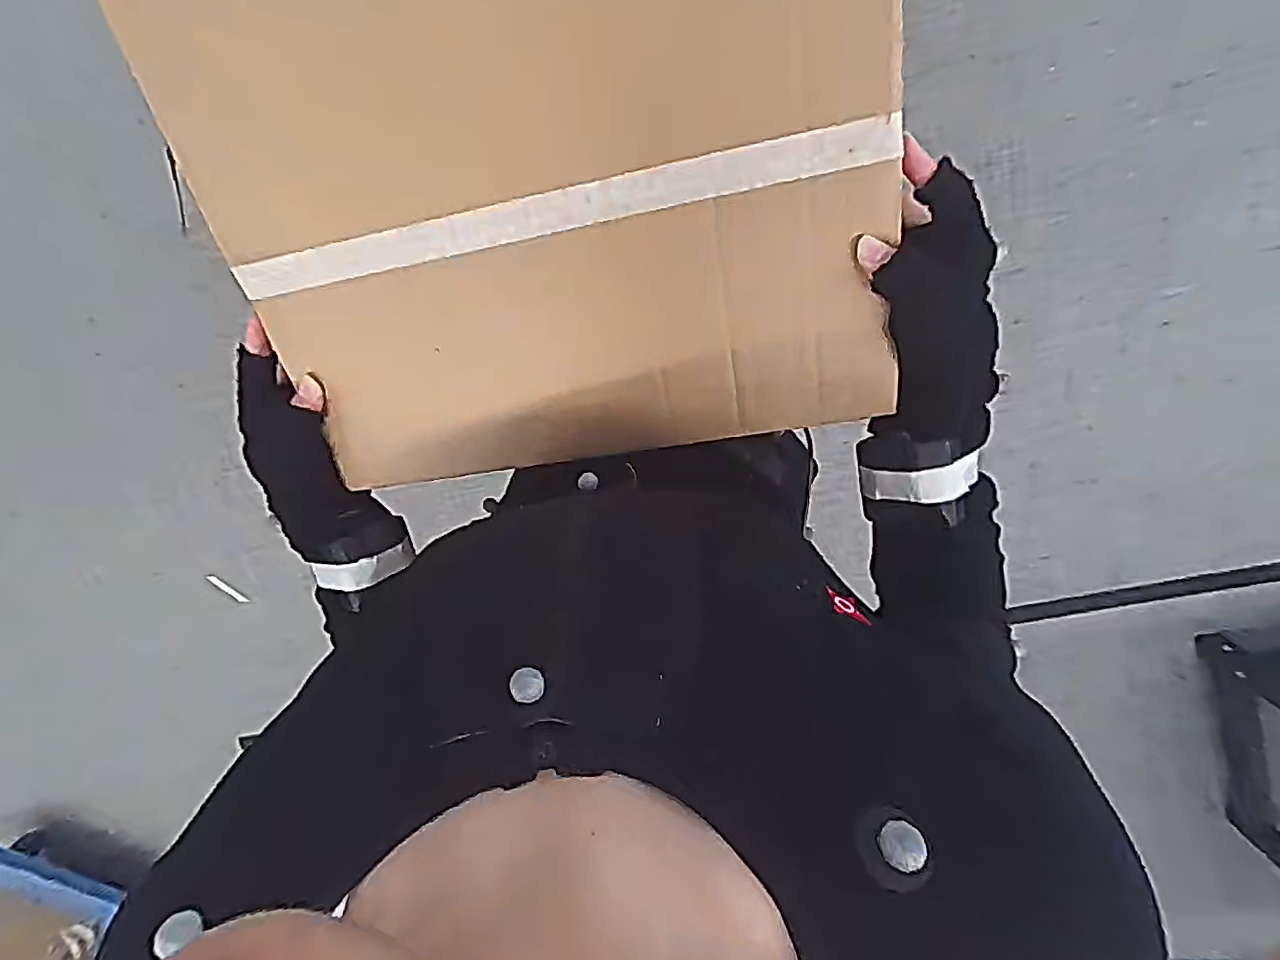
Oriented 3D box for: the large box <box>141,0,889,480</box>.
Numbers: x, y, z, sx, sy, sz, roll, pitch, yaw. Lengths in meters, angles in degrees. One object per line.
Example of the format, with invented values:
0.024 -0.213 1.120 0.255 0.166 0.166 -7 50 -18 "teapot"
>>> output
-0.046 -0.228 0.462 0.408 0.320 0.320 -8 117 9 "large box"
